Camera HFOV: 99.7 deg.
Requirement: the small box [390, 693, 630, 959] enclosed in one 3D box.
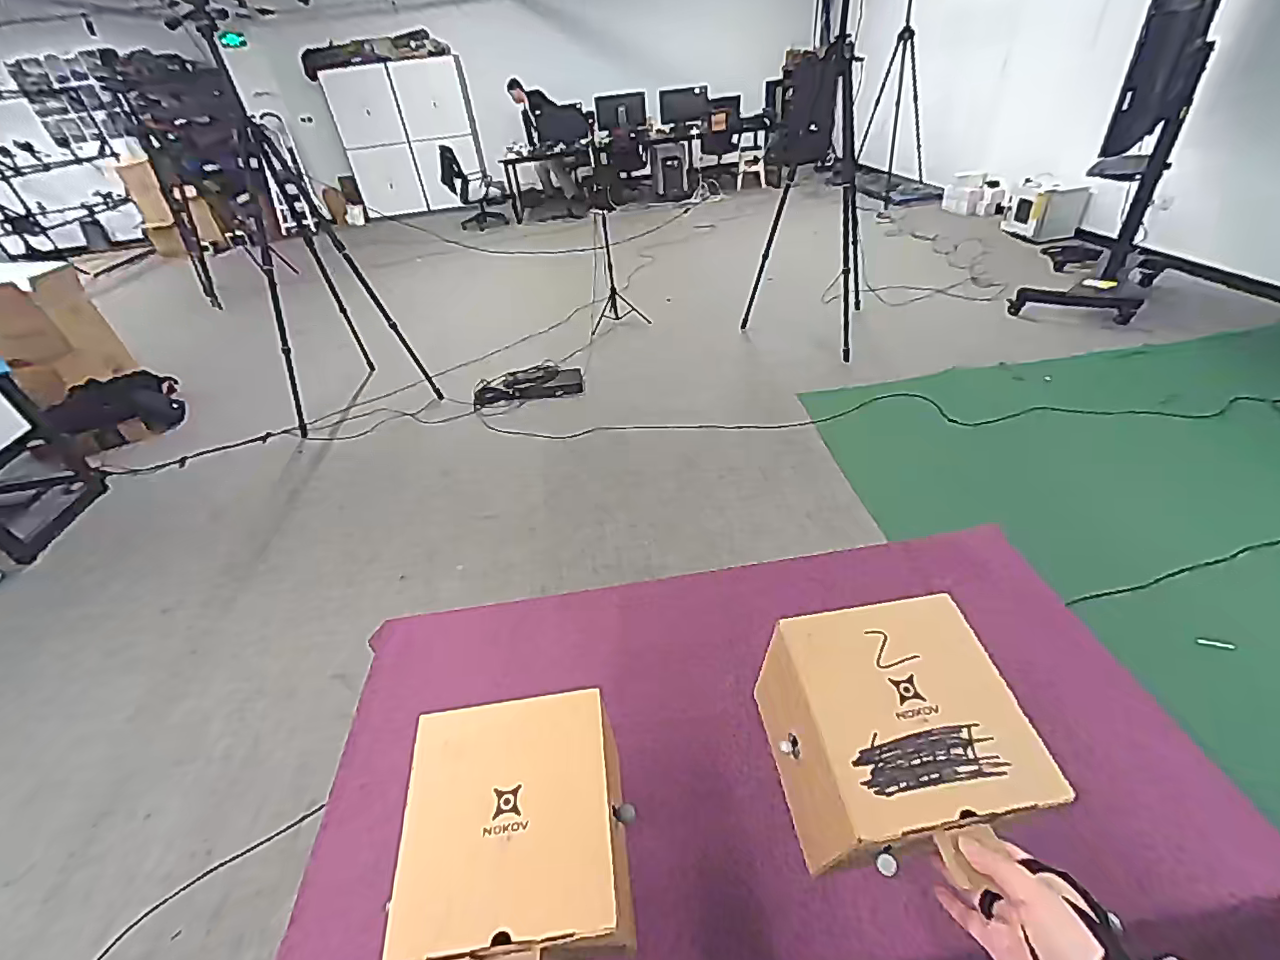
[{"bbox_3d":[-0.104,0.327,0.503,0.168,0.176,0.179,-8,46,-3],"label":"small box"}]
